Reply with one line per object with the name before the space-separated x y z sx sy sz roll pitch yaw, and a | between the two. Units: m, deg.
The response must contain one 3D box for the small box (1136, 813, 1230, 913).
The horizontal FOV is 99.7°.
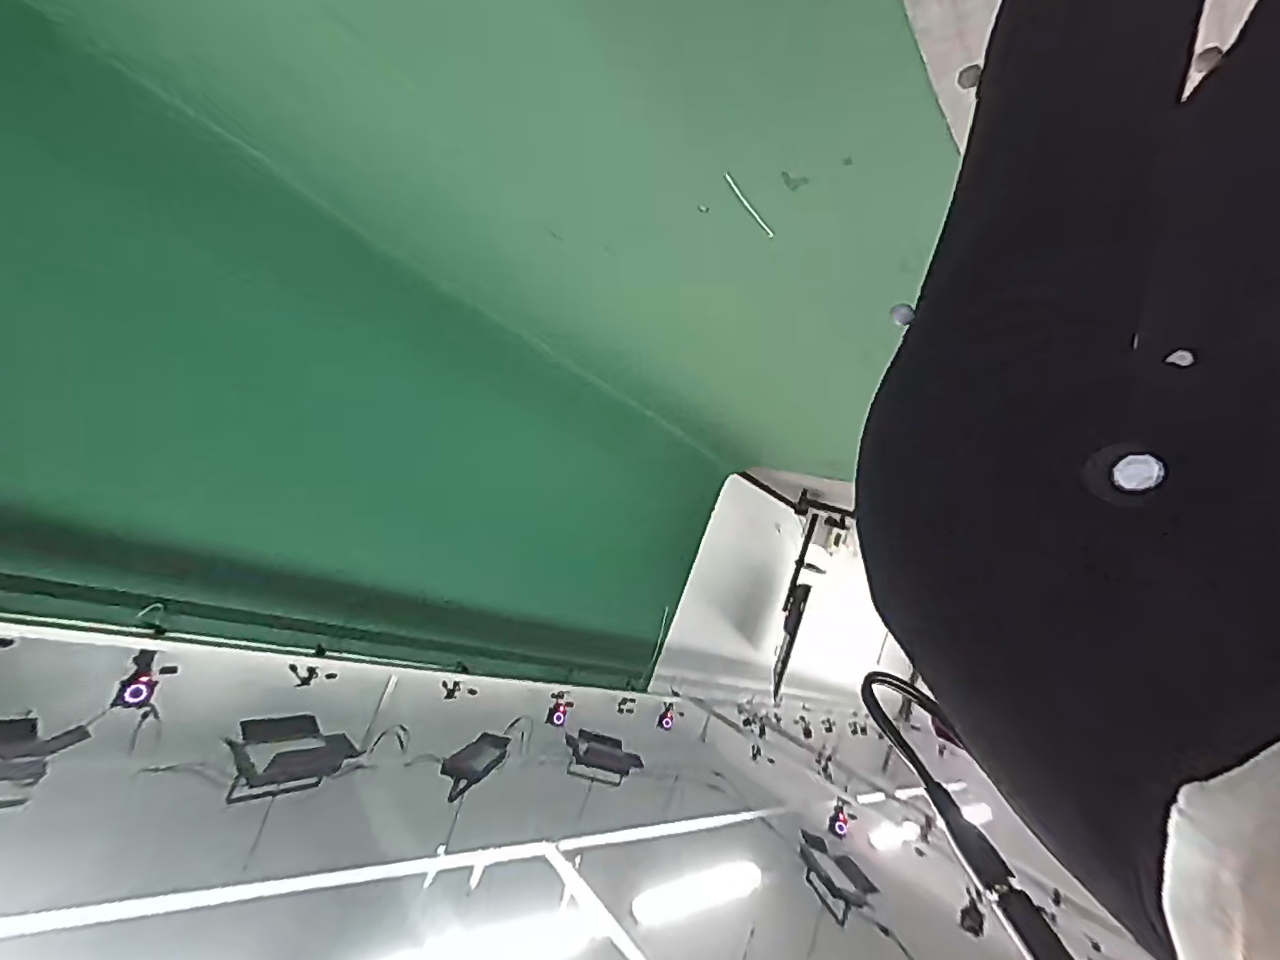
small box | 1.640 1.147 1.634 0.168 0.176 0.179 25 173 -41
